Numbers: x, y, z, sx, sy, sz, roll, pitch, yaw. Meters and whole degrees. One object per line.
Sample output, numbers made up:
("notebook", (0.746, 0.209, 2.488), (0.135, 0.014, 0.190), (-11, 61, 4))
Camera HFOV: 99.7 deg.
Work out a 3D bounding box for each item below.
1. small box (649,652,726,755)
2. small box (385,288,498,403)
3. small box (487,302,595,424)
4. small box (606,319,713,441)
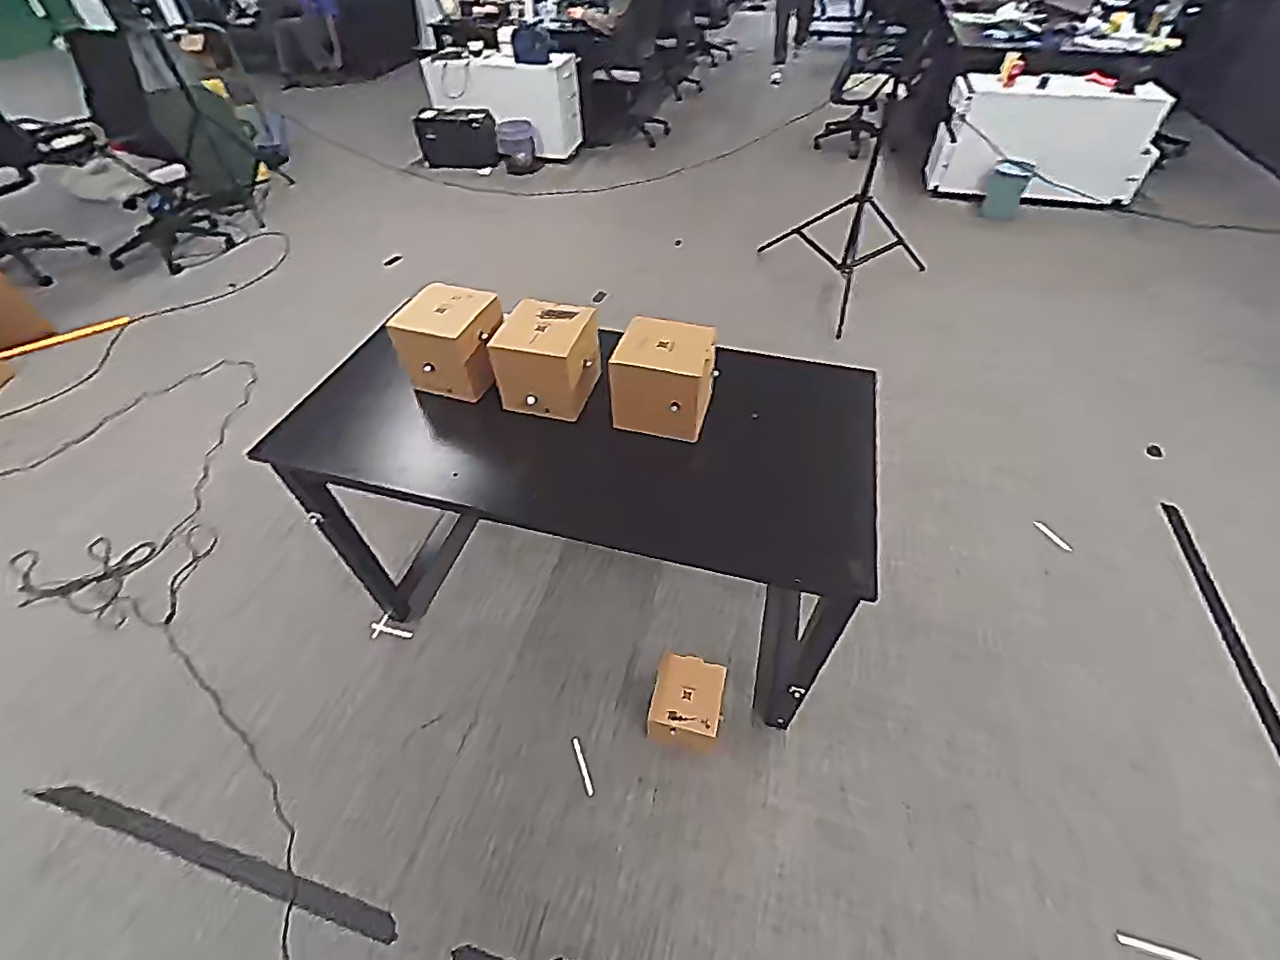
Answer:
("small box", (0.120, 0.572, 1.380), (0.168, 0.176, 0.179), (9, 49, 11))
("small box", (-0.412, -0.293, 1.186), (0.168, 0.176, 0.179), (14, 50, 12))
("small box", (-0.198, -0.247, 1.140), (0.168, 0.176, 0.179), (10, 51, 10))
("small box", (0.043, -0.200, 1.096), (0.179, 0.176, 0.168), (10, 48, 12))
